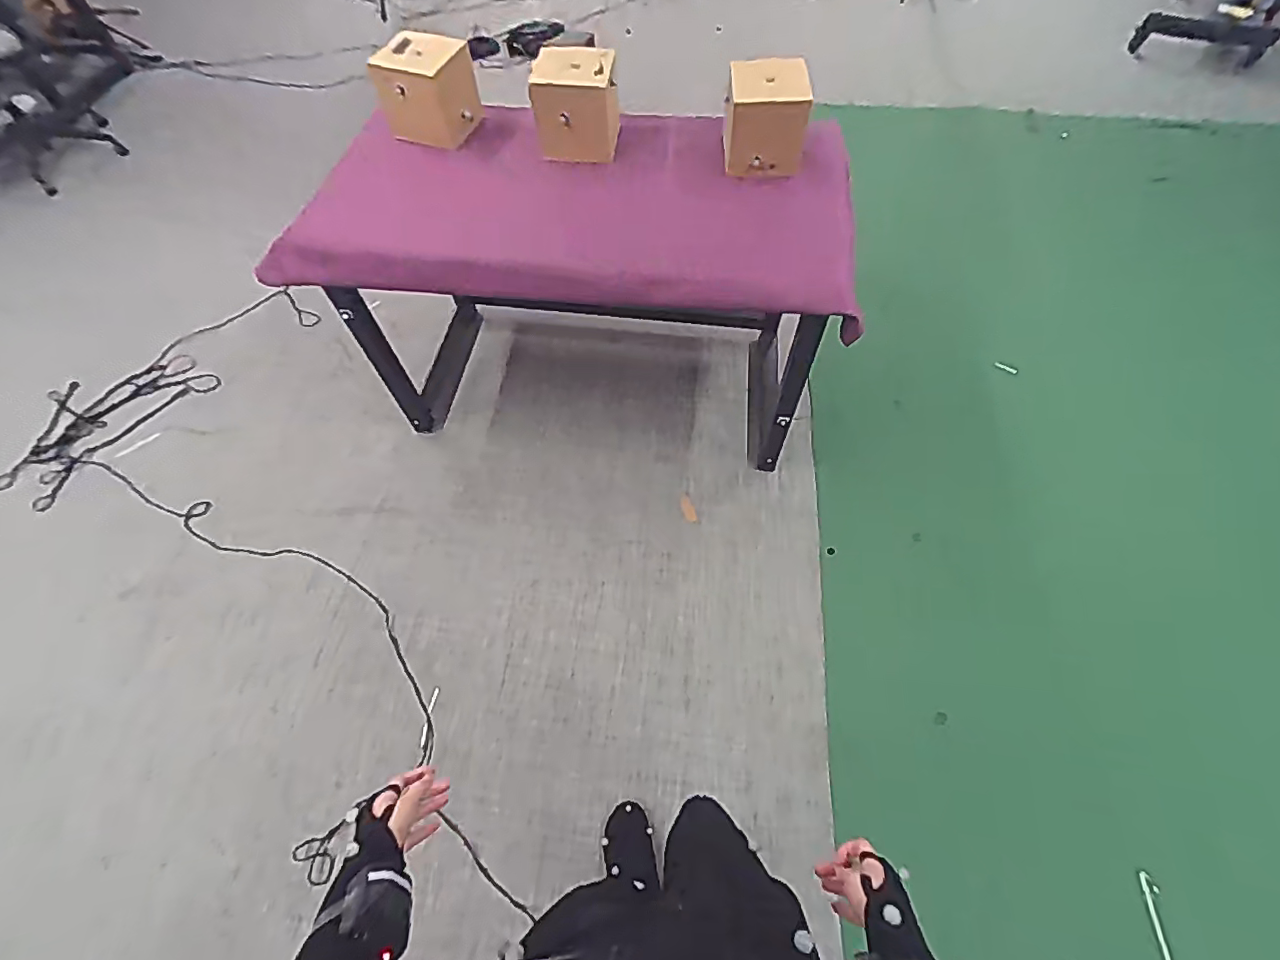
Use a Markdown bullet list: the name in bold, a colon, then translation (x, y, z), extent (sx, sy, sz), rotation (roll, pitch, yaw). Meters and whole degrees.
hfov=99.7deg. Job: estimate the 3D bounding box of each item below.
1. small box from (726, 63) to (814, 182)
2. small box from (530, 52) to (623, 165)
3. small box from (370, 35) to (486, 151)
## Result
- **small box**: translation (0.286, -0.808, 1.226), extent (0.168, 0.176, 0.179), rotation (1, 61, 4)
- **small box**: translation (-0.141, -0.868, 1.269), extent (0.179, 0.176, 0.168), rotation (5, 62, 5)
- **small box**: translation (-0.503, -0.933, 1.311), extent (0.179, 0.176, 0.168), rotation (17, 63, 9)
